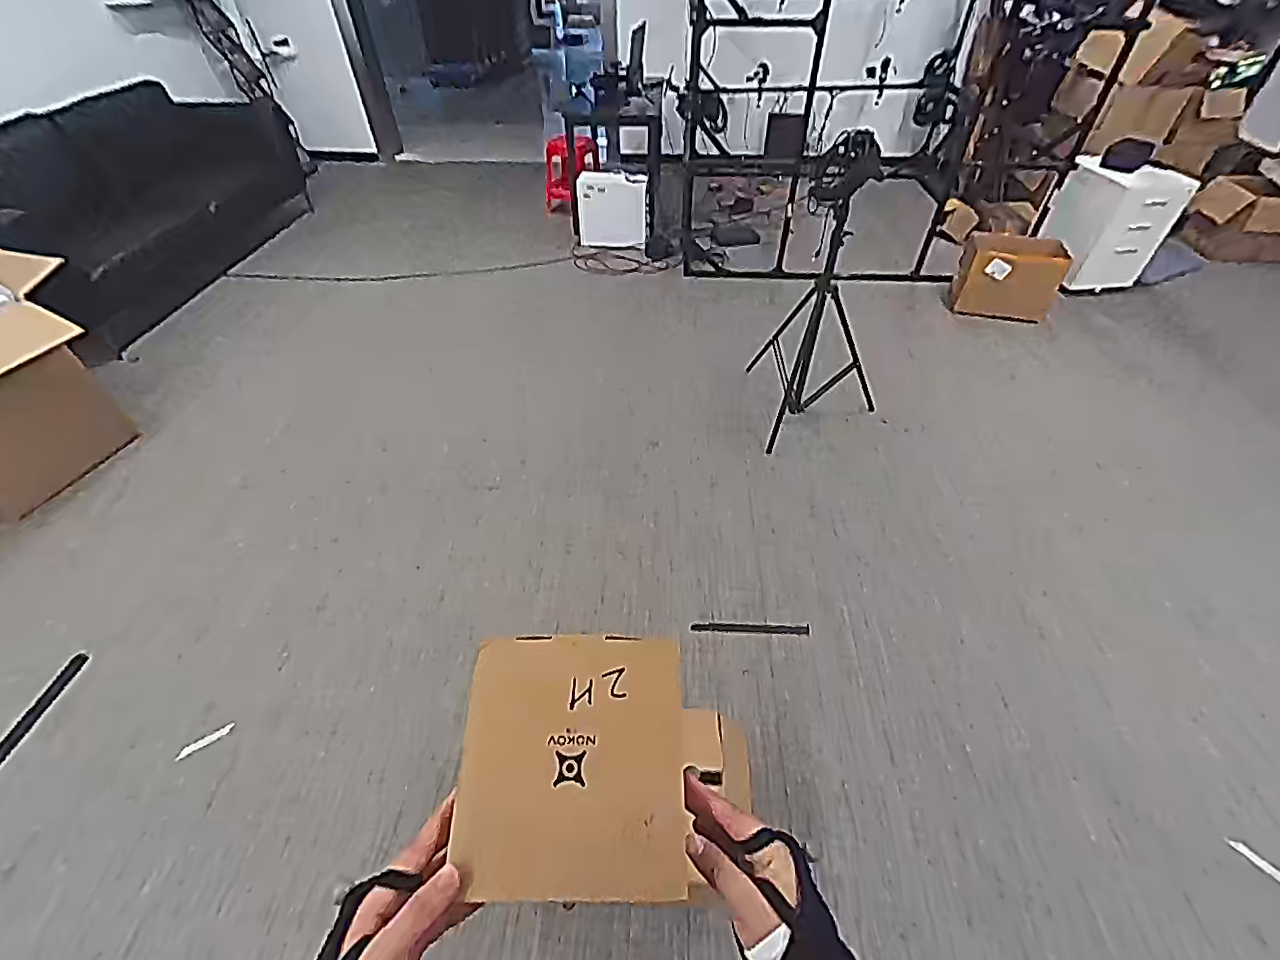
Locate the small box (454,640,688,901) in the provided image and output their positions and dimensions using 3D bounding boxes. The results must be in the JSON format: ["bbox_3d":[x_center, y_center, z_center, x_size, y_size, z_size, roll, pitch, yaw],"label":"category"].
[{"bbox_3d":[-0.047,0.250,0.478,0.168,0.176,0.179,1,59,-1],"label":"small box"}]
